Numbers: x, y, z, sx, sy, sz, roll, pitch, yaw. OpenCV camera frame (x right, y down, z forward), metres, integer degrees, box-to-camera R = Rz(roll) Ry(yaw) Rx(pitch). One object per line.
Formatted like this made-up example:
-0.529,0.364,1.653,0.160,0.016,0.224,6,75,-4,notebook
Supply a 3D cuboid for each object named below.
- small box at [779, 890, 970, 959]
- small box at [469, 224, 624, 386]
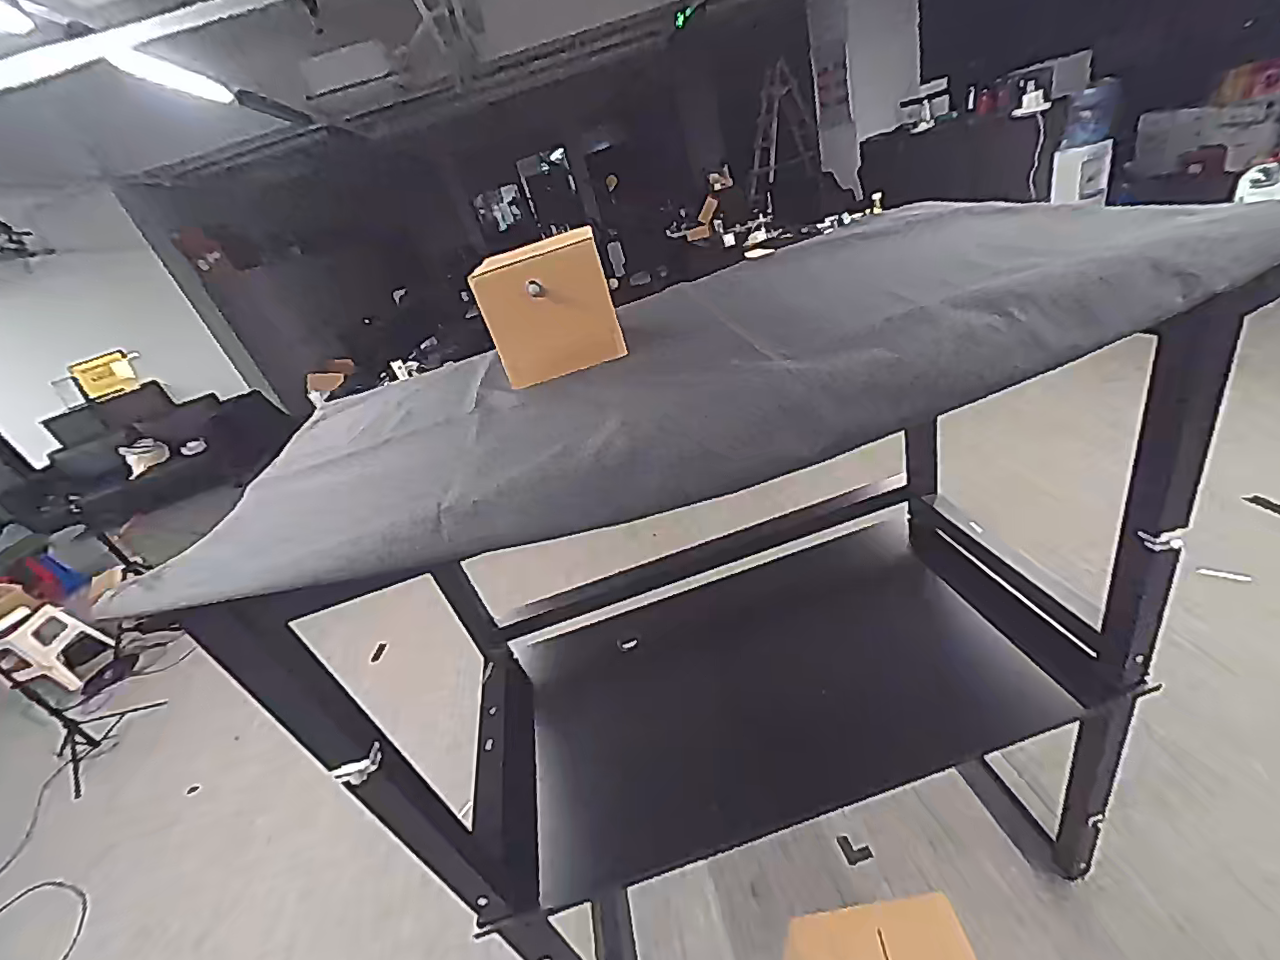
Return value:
0.244,0.548,0.535,0.168,0.176,0.179,-9,37,-2,small box
-0.127,-0.262,0.809,0.179,0.176,0.168,-17,30,3,small box
